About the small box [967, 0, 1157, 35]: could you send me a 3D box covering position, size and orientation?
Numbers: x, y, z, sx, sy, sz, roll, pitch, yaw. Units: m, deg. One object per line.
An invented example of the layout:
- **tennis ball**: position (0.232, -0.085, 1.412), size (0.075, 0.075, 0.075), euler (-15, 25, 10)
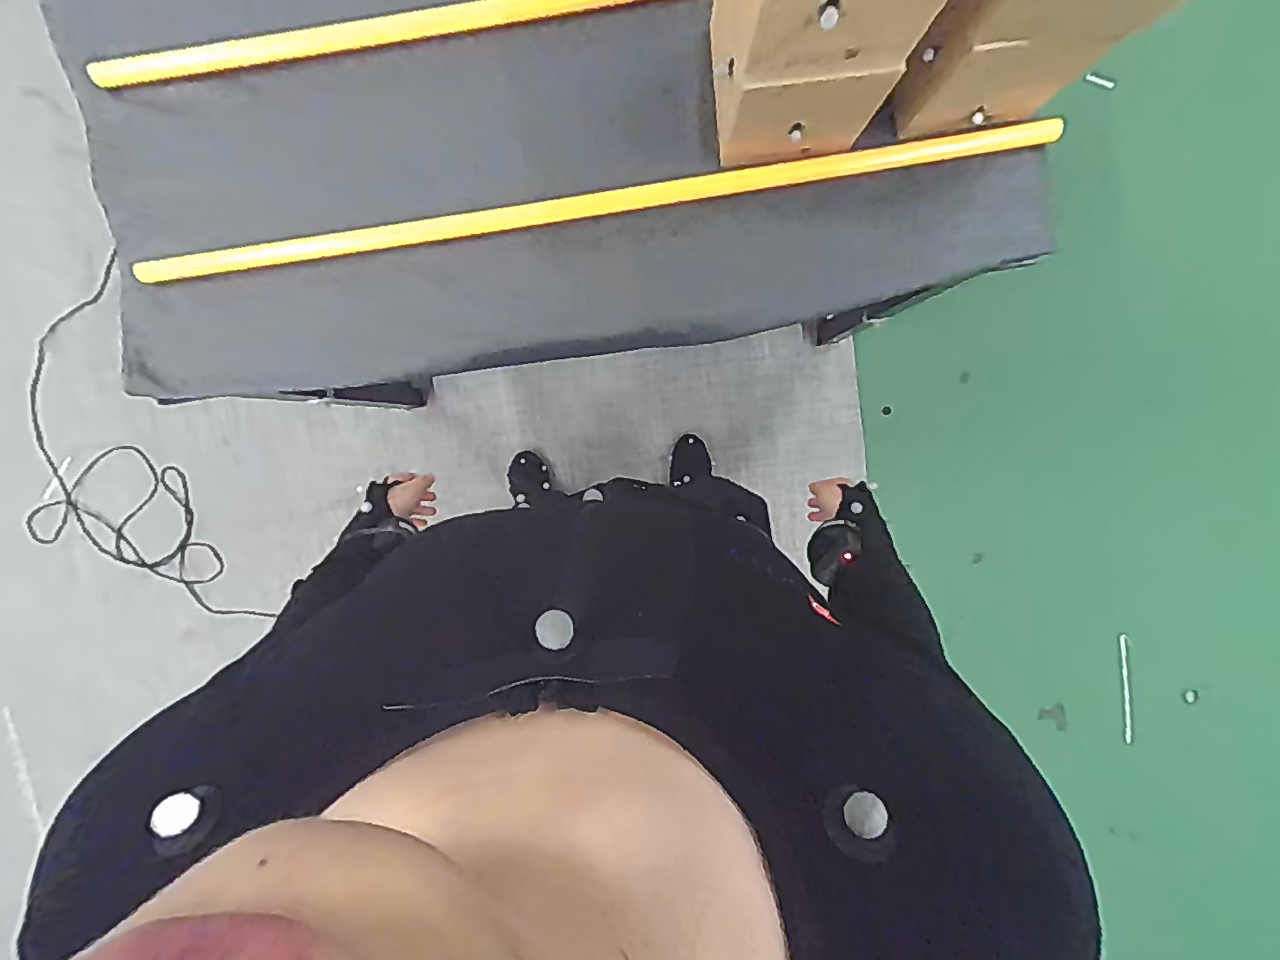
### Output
- **small box**: position (0.396, -0.508, 0.441), size (0.179, 0.176, 0.168), euler (-4, 96, 1)

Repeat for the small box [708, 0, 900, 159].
- **small box**: position (0.173, -0.490, 0.612), size (0.168, 0.176, 0.179), euler (-6, 95, 1)

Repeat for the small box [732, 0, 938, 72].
- **small box**: position (0.169, -0.479, 0.449), size (0.168, 0.176, 0.179), euler (-6, 95, 2)
